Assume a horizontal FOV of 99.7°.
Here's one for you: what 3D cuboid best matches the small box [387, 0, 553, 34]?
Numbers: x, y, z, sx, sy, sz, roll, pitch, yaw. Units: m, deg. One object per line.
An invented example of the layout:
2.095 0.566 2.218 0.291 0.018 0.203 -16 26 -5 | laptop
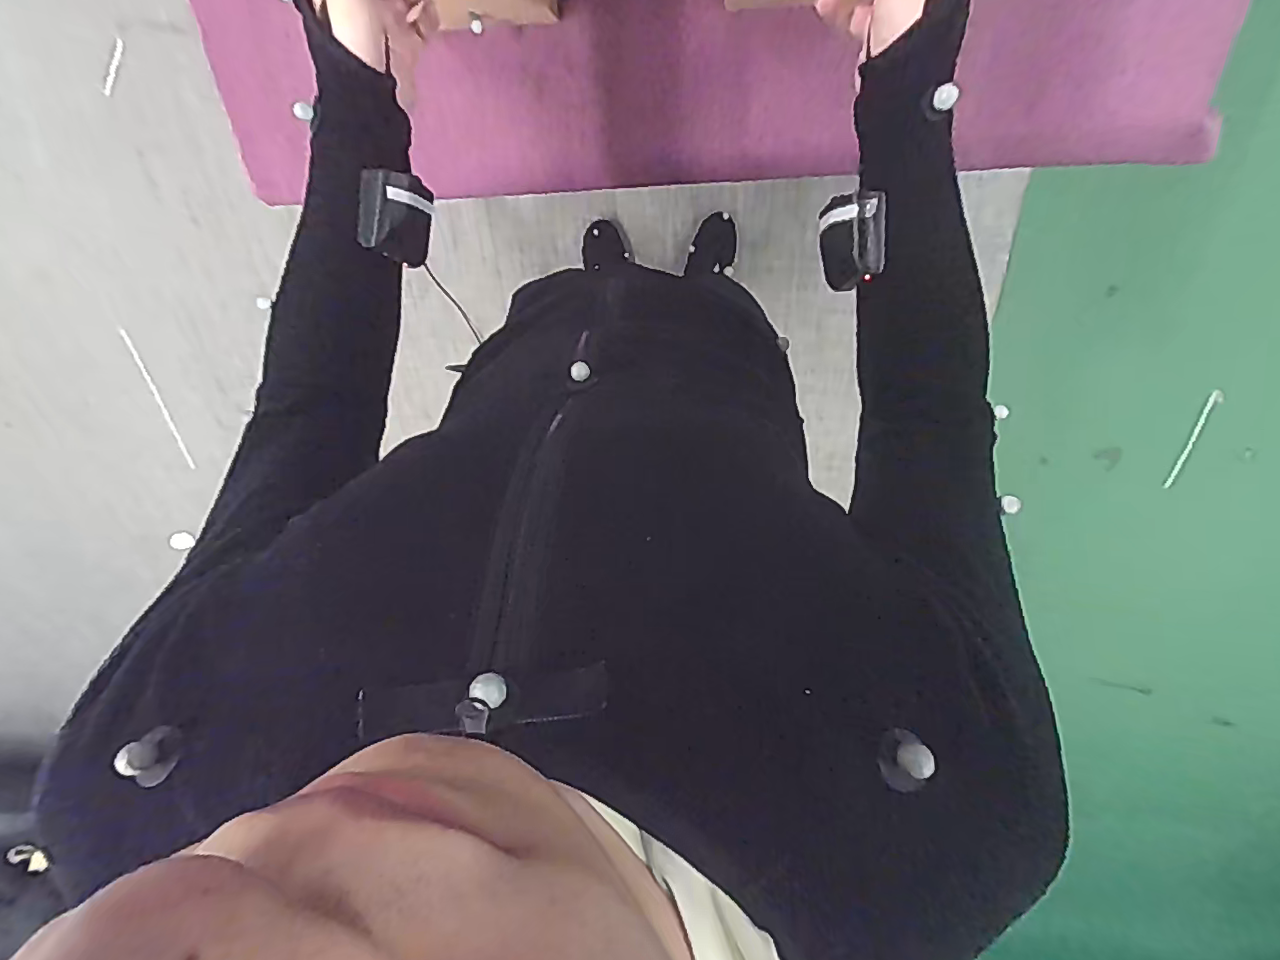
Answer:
-0.188 -0.570 0.528 0.168 0.176 0.179 0 119 4 | small box
